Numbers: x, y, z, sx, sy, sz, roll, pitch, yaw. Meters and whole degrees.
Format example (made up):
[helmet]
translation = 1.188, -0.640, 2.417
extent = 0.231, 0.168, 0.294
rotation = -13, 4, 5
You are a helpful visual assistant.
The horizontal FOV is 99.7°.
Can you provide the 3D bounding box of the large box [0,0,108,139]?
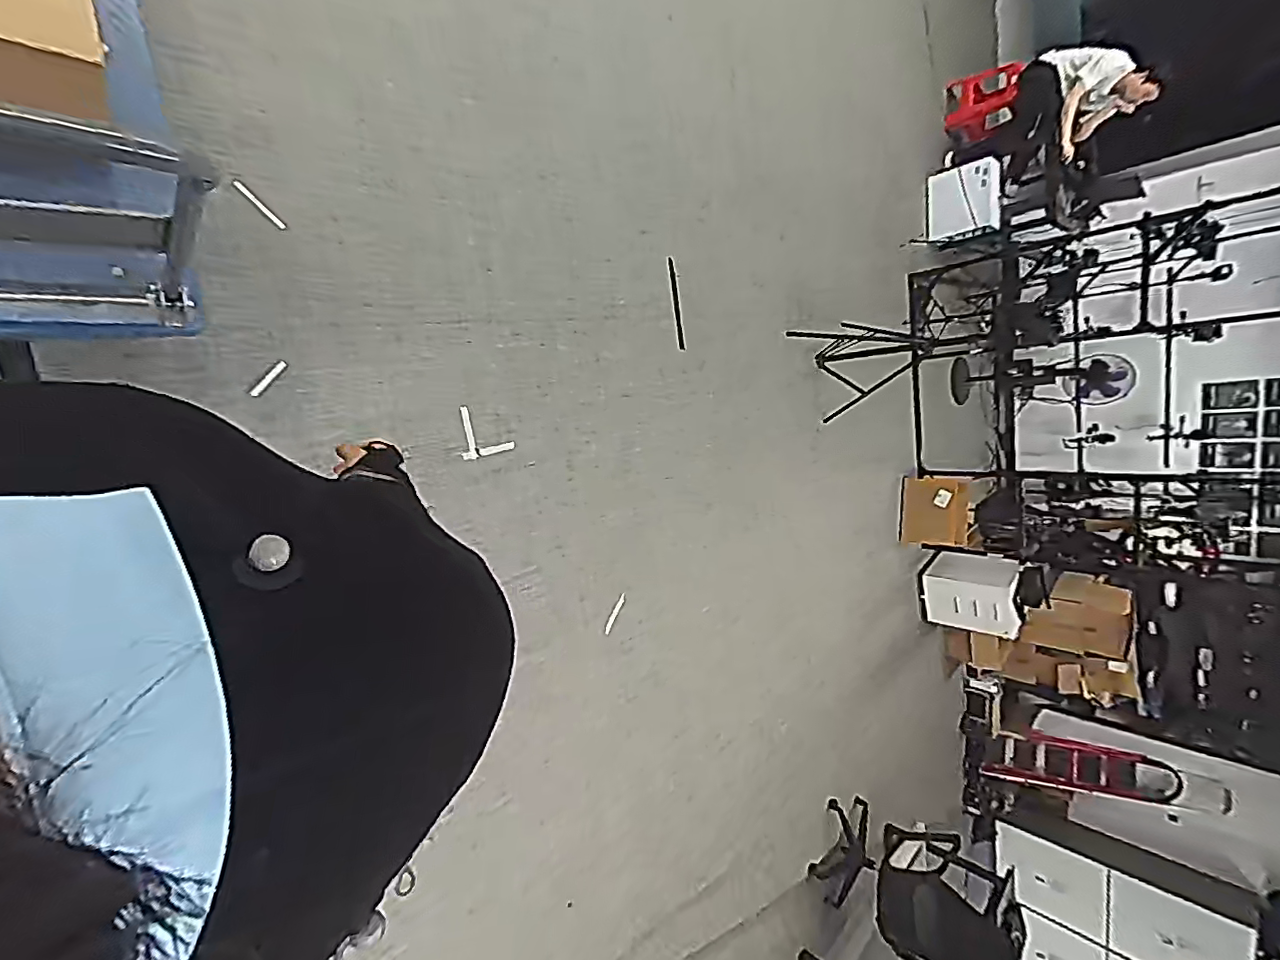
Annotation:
[large box]
translation = -0.994, -0.702, 0.690
extent = 0.408, 0.320, 0.320
rotation = -11, 99, -42
